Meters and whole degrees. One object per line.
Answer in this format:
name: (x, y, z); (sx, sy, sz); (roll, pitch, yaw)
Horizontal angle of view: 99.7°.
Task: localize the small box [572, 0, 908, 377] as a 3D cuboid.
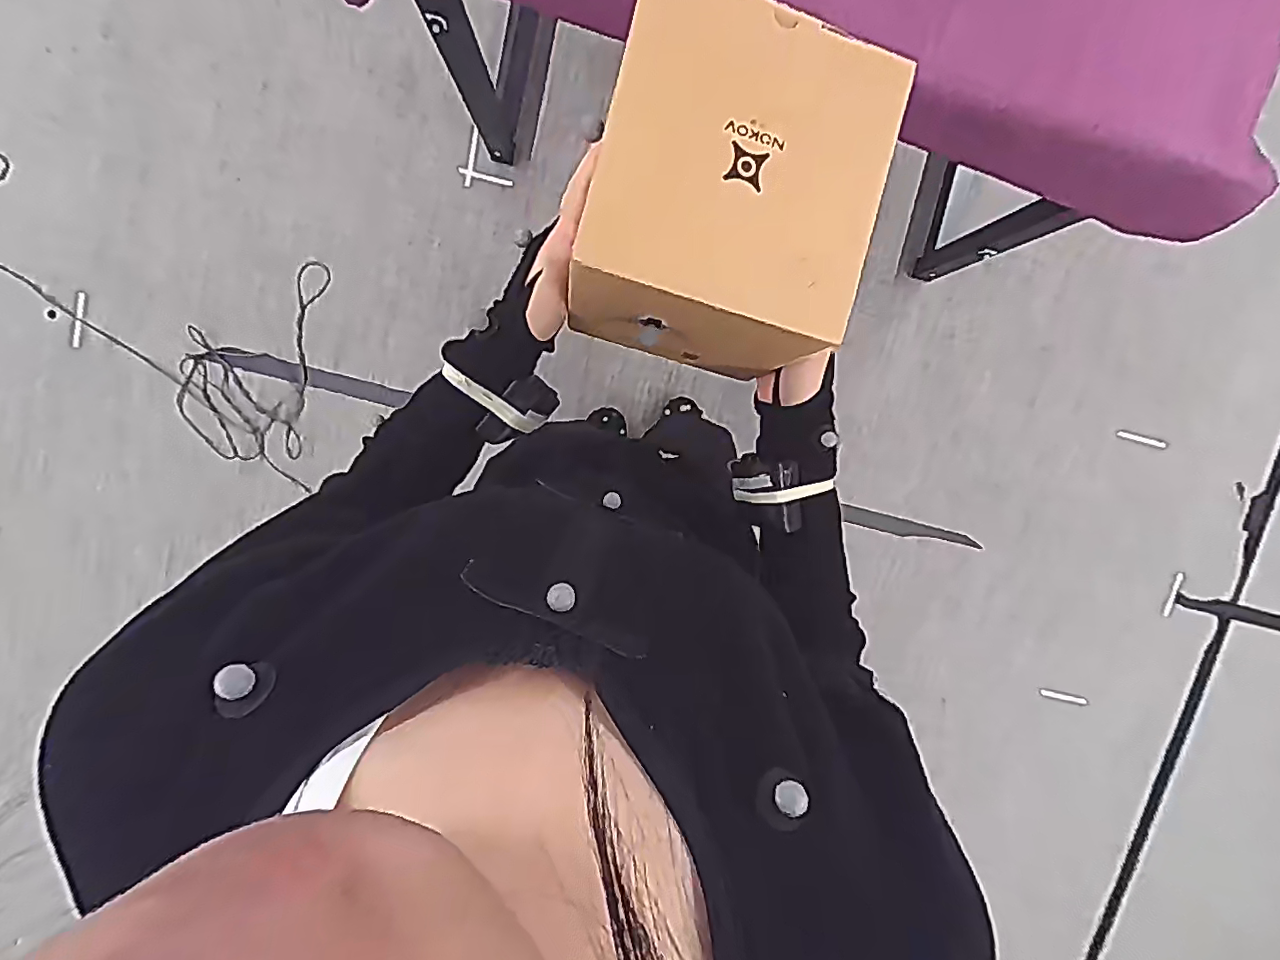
small box: (0.052, -0.187, 0.393); (0.168, 0.176, 0.179); (15, 89, -8)
